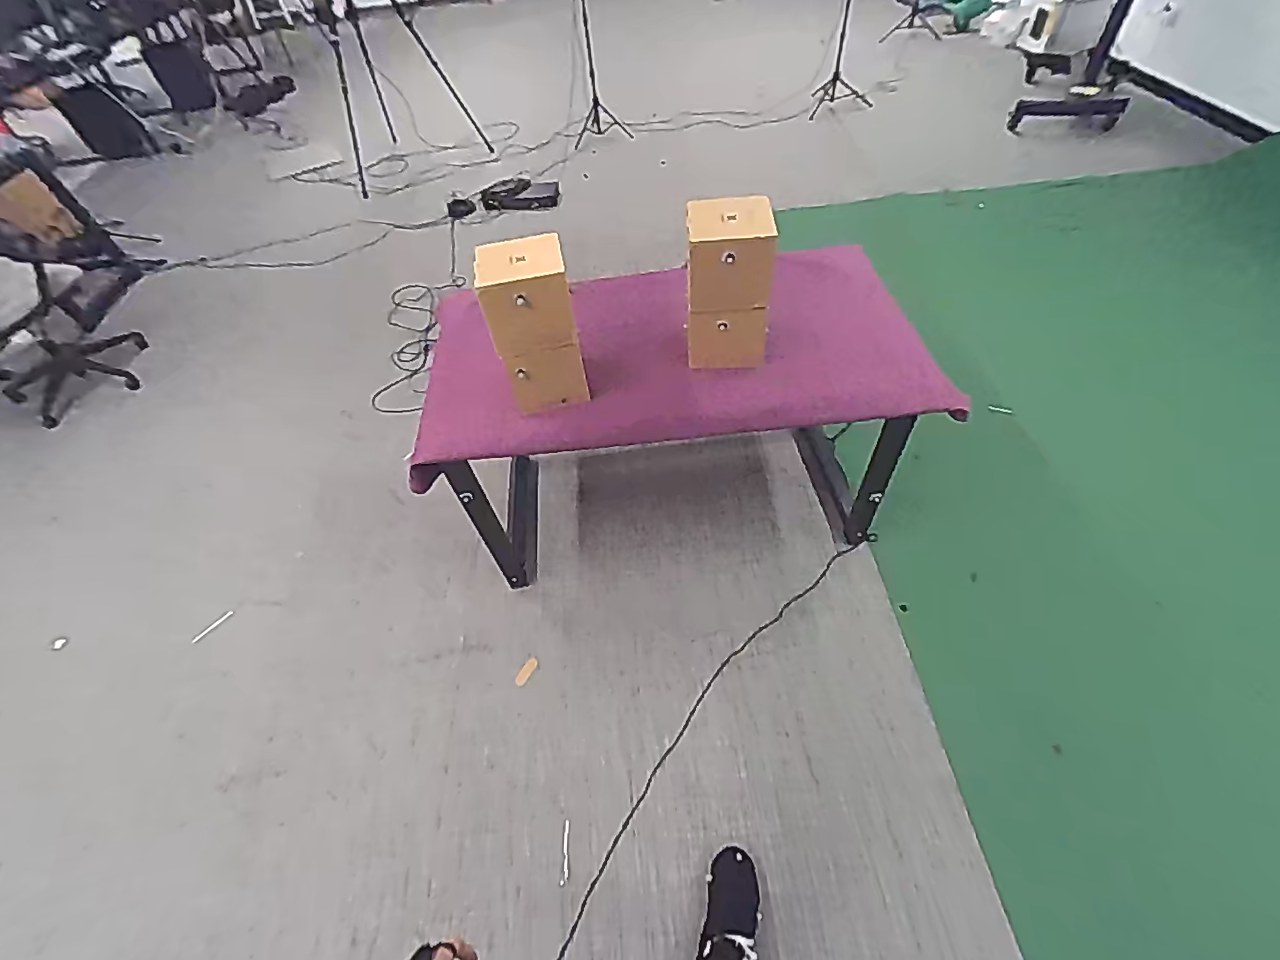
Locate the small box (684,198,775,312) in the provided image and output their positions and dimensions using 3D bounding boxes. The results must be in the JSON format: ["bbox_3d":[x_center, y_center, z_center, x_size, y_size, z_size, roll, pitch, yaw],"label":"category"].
[{"bbox_3d":[0.186,-0.477,1.159,0.179,0.176,0.168,-1,53,5],"label":"small box"}]

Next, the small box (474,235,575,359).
[{"bbox_3d":[-0.235,-0.377,1.126,0.179,0.176,0.168,-12,51,-3],"label":"small box"}]

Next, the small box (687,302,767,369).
[{"bbox_3d":[0.201,-0.380,1.289,0.179,0.176,0.168,0,52,5],"label":"small box"}]
